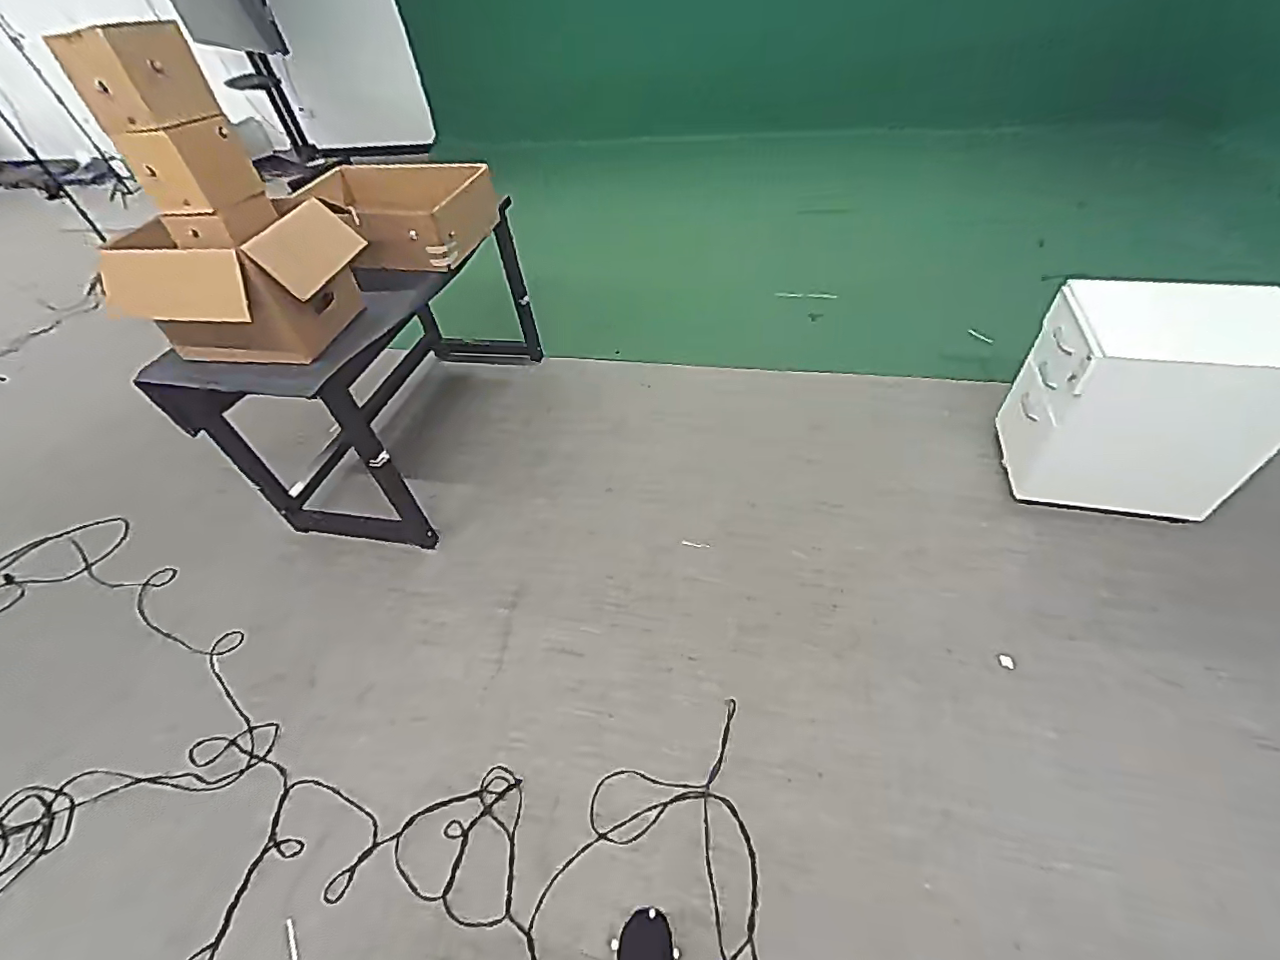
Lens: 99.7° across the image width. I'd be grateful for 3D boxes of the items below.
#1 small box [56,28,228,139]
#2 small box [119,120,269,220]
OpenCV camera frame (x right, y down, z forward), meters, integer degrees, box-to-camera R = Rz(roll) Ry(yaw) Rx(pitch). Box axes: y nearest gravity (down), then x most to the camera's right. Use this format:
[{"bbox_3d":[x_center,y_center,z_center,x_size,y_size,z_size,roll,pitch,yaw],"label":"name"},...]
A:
[{"bbox_3d":[-1.050,-0.843,1.159,0.168,0.176,0.179,6,44,15],"label":"small box"},{"bbox_3d":[-1.029,-0.723,1.269,0.168,0.176,0.179,5,43,14],"label":"small box"}]
